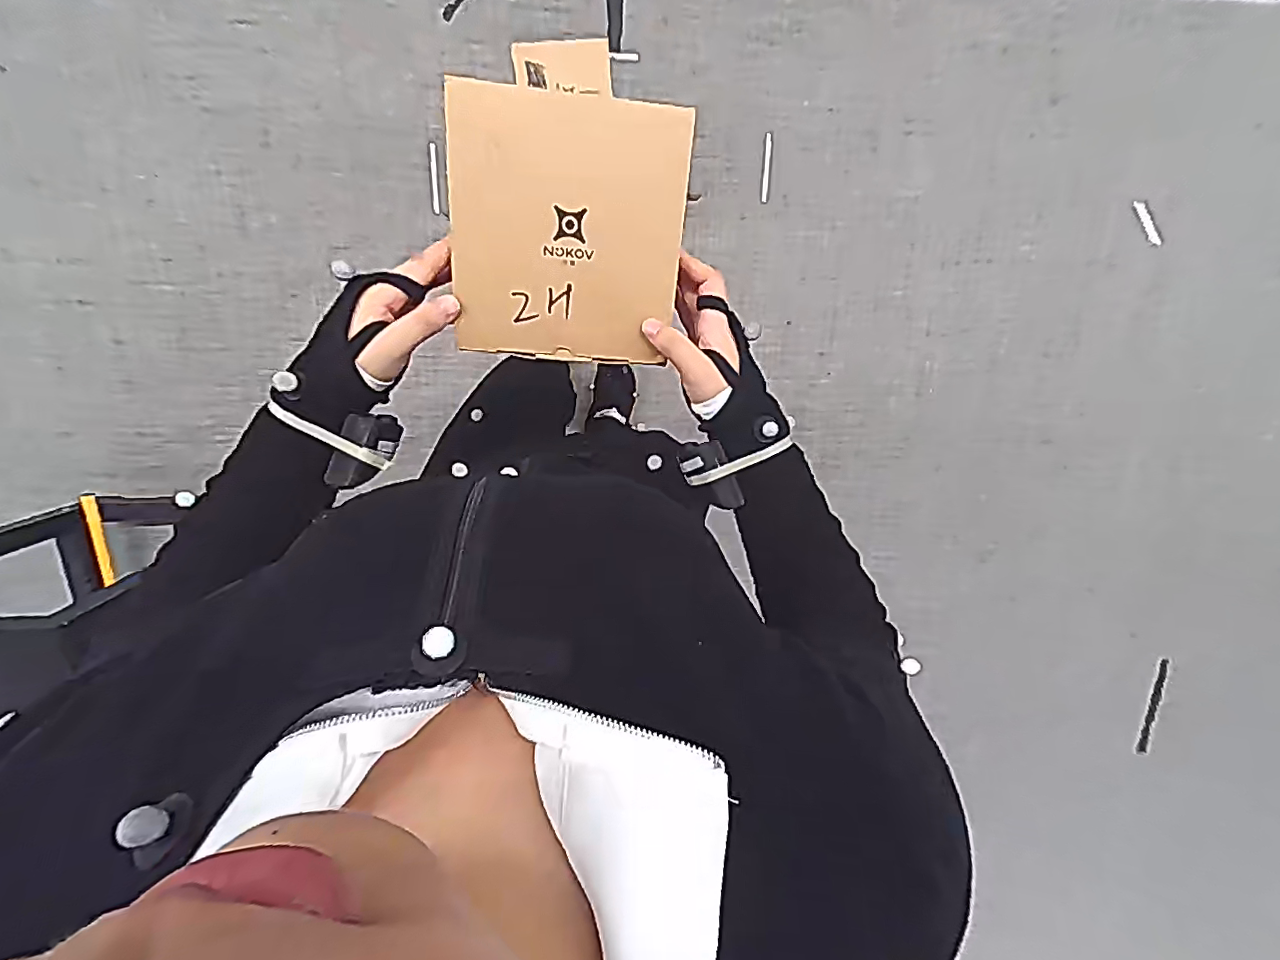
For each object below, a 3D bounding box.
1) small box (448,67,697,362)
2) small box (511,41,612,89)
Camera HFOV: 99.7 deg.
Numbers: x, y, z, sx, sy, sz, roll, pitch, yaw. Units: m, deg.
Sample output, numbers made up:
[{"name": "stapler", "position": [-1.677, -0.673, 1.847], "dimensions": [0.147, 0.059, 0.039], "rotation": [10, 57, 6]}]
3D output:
[{"name": "small box", "position": [-0.057, -0.208, 0.455], "dimensions": [0.168, 0.176, 0.179], "rotation": [3, 113, -6]}, {"name": "small box", "position": [-0.140, -0.712, 1.050], "dimensions": [0.179, 0.176, 0.168], "rotation": [-5, 105, -2]}]
